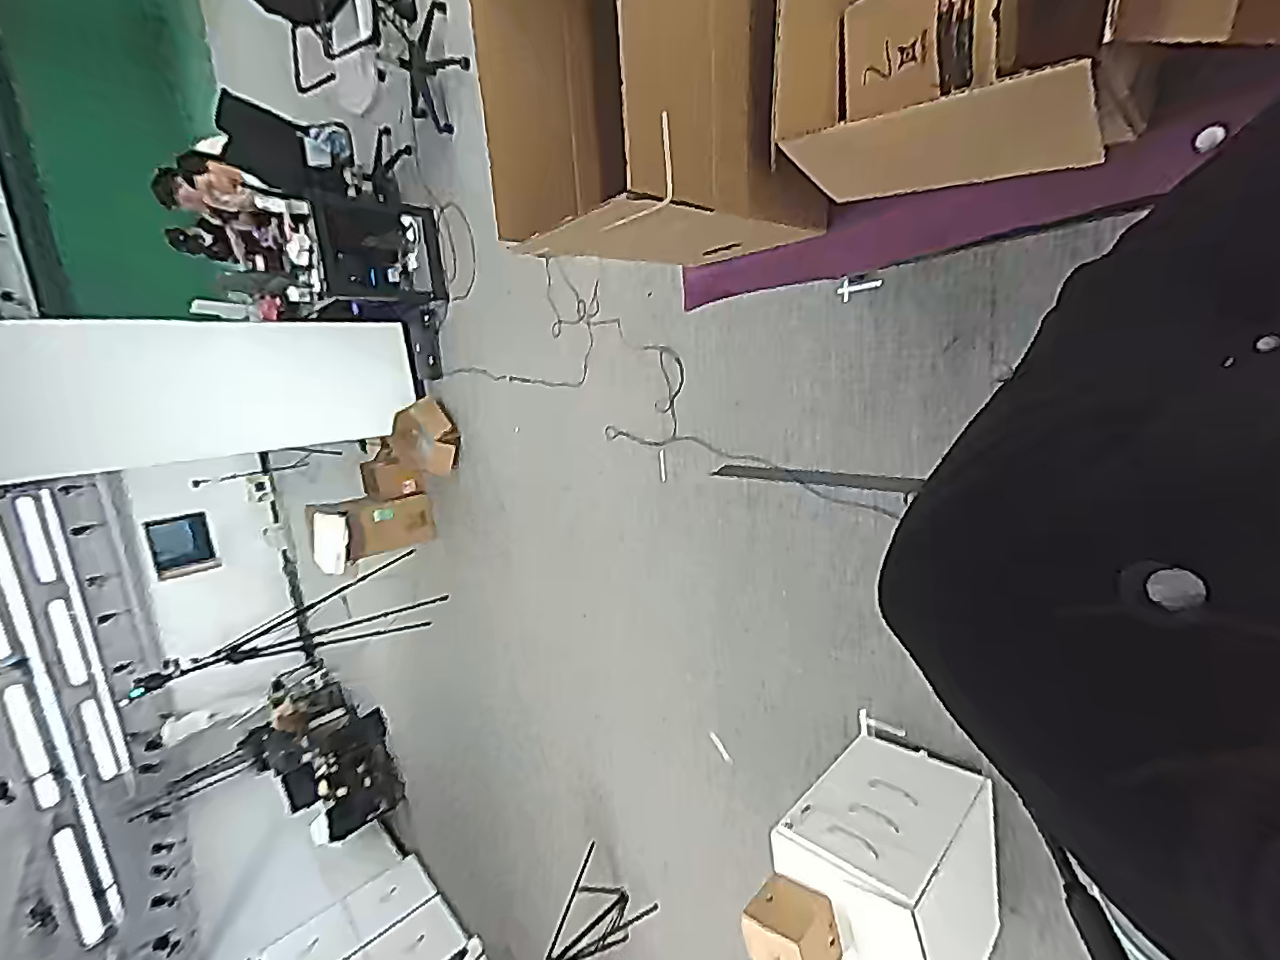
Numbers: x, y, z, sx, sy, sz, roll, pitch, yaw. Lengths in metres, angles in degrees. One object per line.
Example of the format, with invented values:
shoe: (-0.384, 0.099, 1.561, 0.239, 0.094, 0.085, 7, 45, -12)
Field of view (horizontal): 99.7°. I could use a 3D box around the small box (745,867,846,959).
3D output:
small box: (0.411, 1.173, 1.426, 0.179, 0.176, 0.168, -12, 93, 48)
